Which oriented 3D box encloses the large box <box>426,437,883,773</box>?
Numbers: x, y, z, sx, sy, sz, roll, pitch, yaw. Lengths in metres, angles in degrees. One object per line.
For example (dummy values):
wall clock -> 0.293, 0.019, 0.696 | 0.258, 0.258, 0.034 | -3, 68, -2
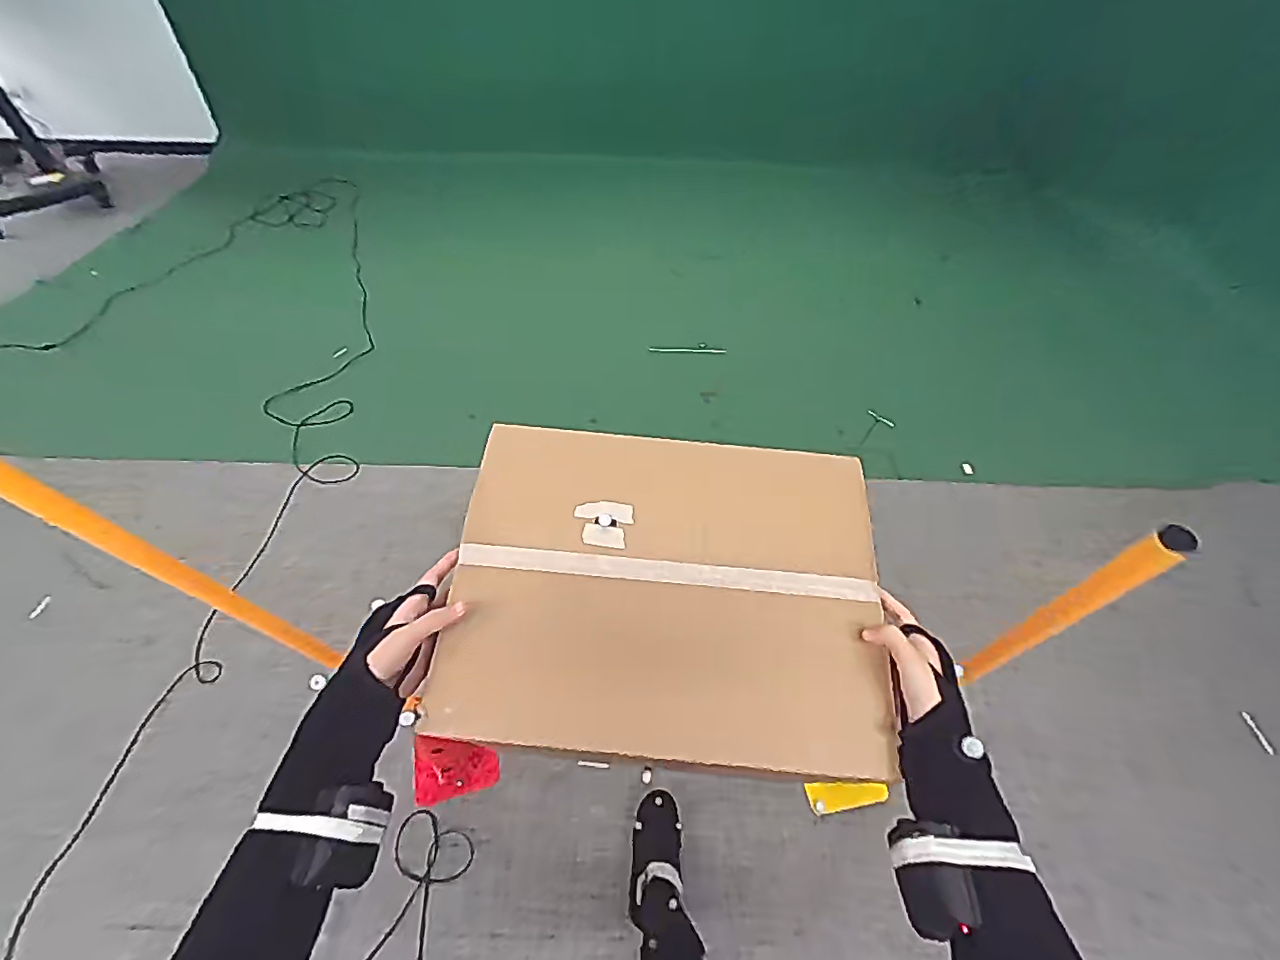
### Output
large box -> 0.022, 0.169, 0.664 | 0.408, 0.320, 0.320 | 5, 60, 2
